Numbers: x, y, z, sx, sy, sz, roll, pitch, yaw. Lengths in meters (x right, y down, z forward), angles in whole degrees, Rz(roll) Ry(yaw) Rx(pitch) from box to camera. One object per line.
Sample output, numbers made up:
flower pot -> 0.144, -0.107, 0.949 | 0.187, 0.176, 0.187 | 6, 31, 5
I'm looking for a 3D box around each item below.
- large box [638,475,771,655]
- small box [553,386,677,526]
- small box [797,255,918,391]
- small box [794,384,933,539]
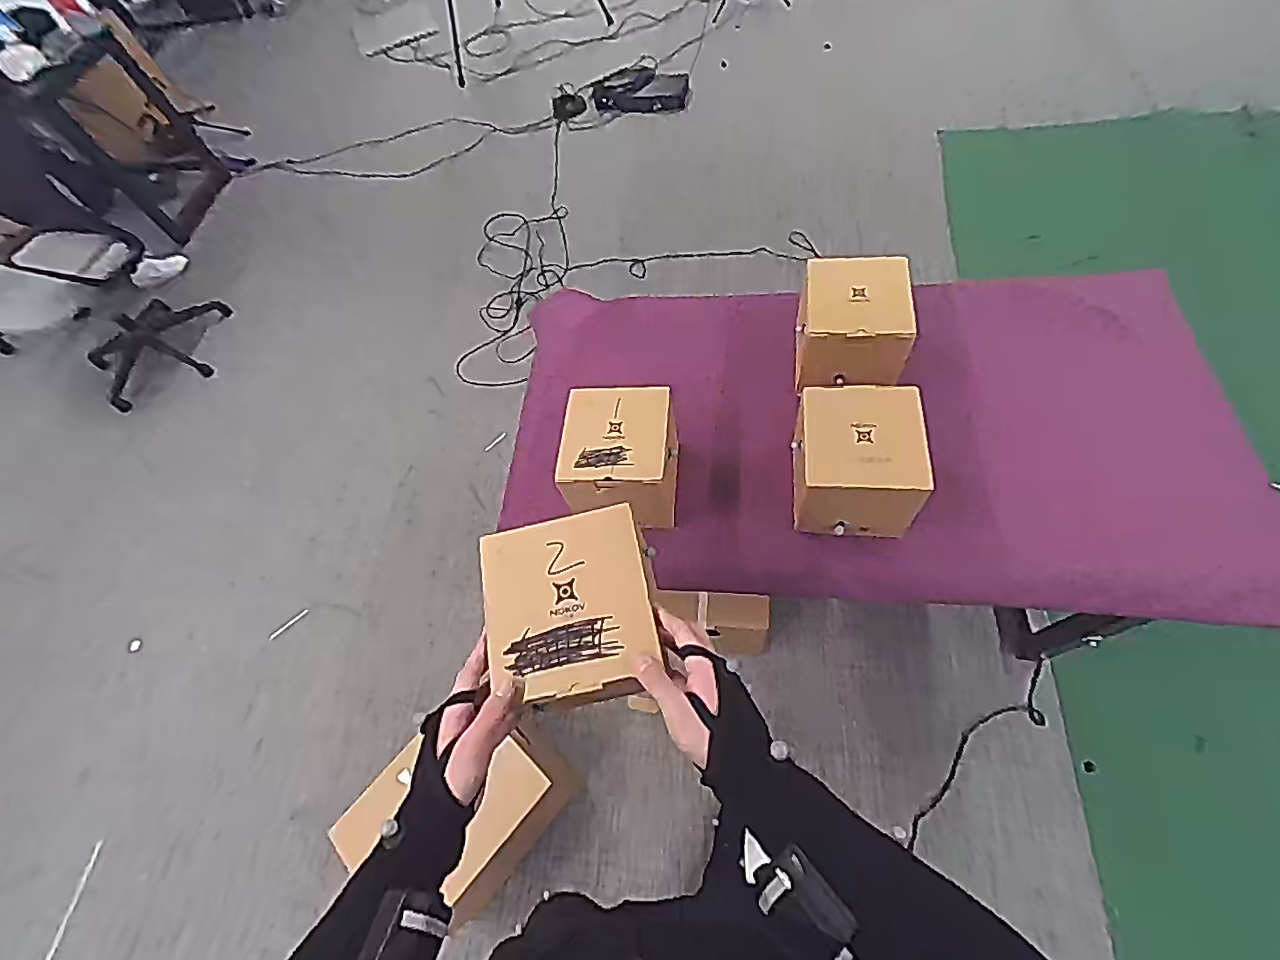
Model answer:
large box -> 0.185, 0.236, 1.470 | 0.320, 0.320, 0.408 | 1, 61, 10
small box -> -0.030, -0.033, 0.890 | 0.168, 0.176, 0.179 | 0, 60, 9
small box -> 0.369, -0.268, 0.951 | 0.168, 0.176, 0.179 | 3, 64, 11
small box -> 0.326, -0.026, 0.826 | 0.168, 0.176, 0.179 | 2, 62, 12
